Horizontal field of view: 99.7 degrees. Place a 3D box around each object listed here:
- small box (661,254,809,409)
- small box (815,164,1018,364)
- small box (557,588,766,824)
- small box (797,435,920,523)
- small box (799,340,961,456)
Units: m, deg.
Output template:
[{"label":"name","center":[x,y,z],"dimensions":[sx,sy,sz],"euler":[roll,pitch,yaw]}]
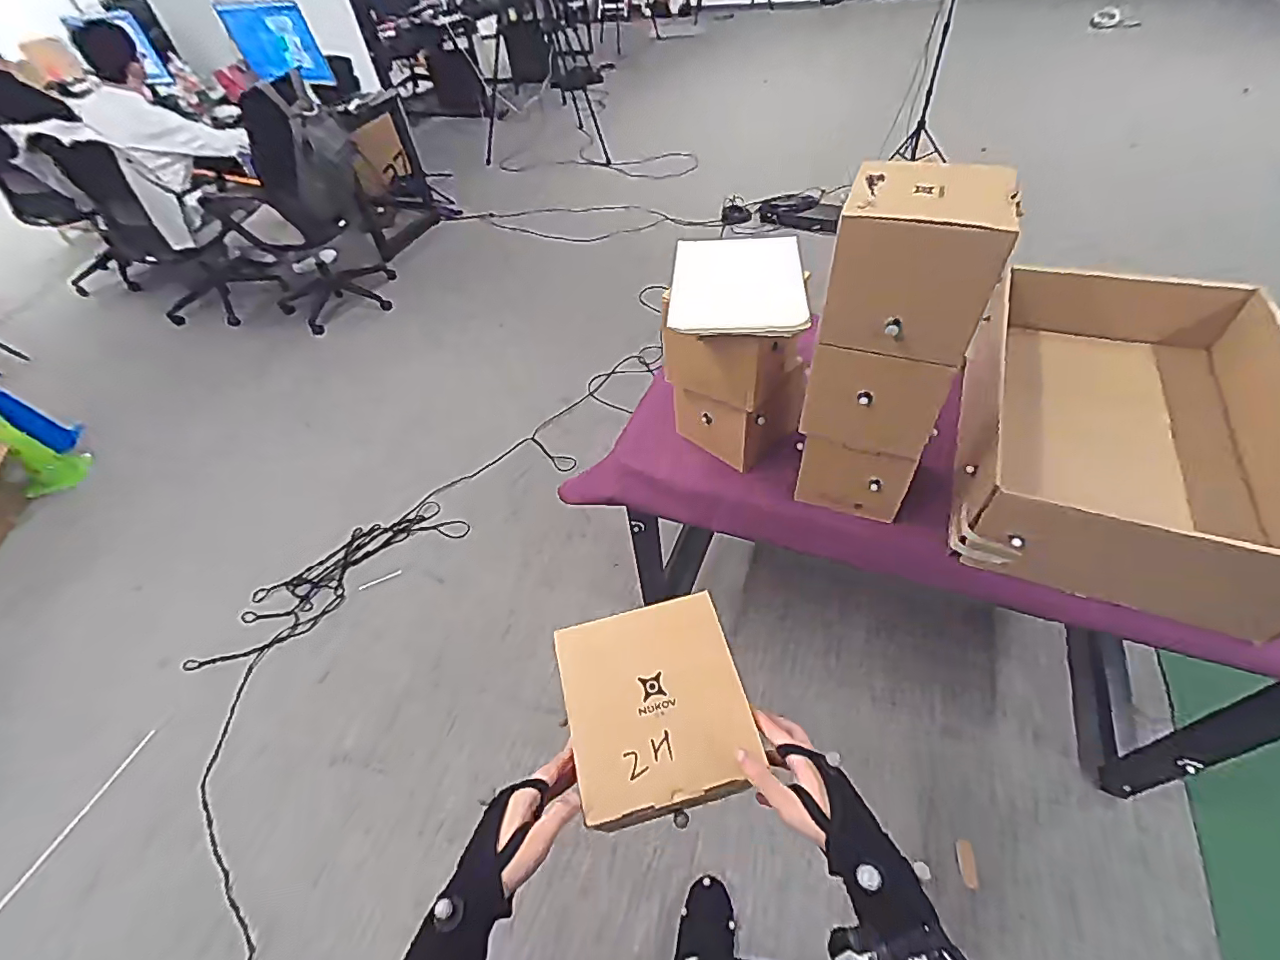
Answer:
[{"label":"small box","center":[0.155,-0.242,0.894],"dimensions":[0.179,0.176,0.168],"euler":[26,57,27]},{"label":"small box","center":[0.334,-0.266,0.671],"dimensions":[0.179,0.176,0.168],"euler":[16,51,18]},{"label":"small box","center":[0.015,0.243,0.574],"dimensions":[0.168,0.176,0.179],"euler":[-13,56,-6]},{"label":"small box","center":[0.373,-0.054,0.919],"dimensions":[0.168,0.176,0.179],"euler":[16,51,19]},{"label":"small box","center":[0.348,-0.157,0.794],"dimensions":[0.179,0.176,0.168],"euler":[15,51,20]}]
